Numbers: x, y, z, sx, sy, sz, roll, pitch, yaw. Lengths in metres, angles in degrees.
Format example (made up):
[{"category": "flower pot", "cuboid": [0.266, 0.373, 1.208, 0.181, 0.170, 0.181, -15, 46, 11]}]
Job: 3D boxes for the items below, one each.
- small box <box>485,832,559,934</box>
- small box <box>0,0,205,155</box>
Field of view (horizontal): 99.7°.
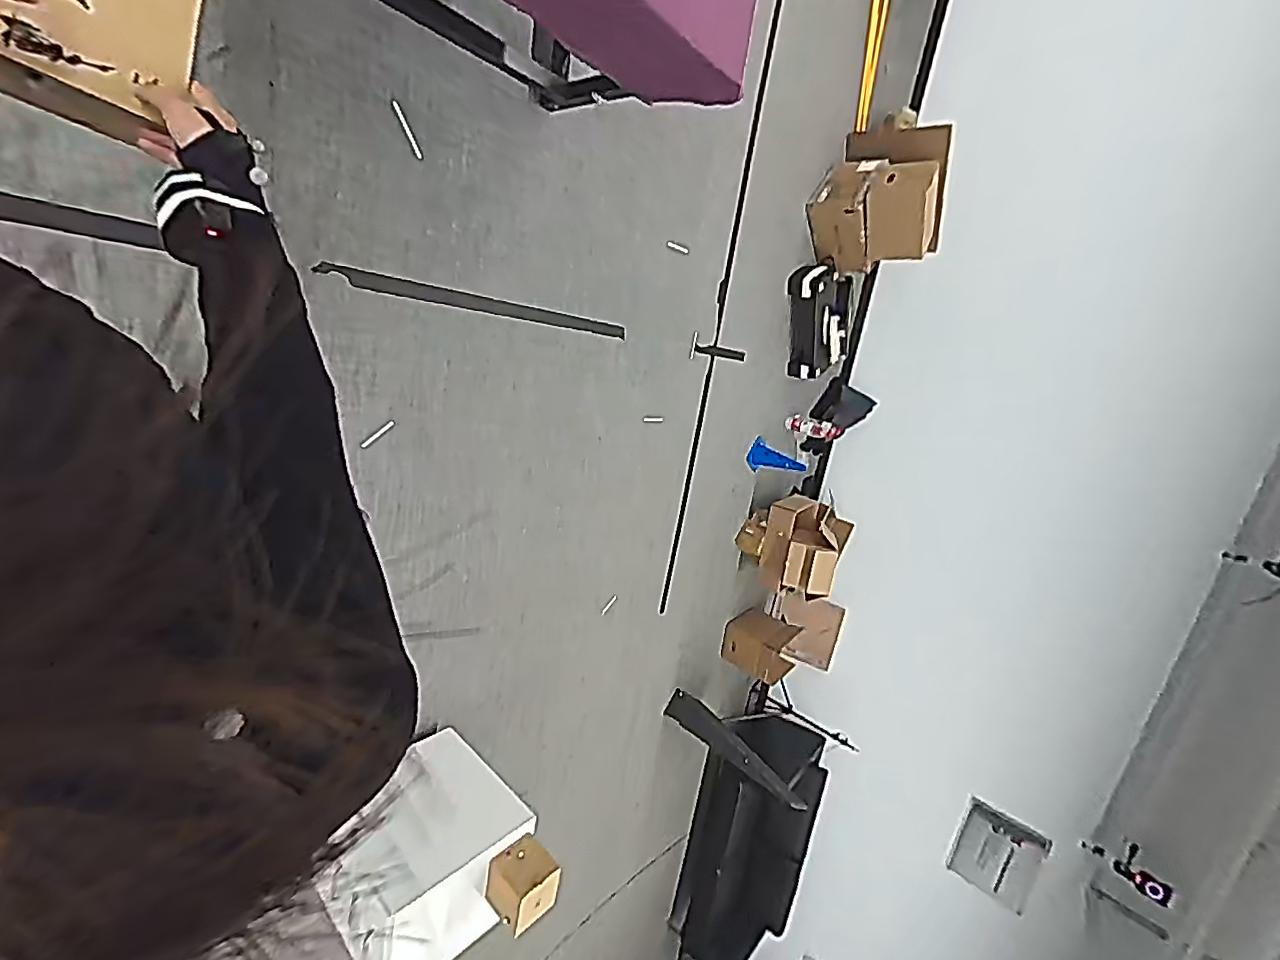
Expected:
[{"category": "small box", "cuboid": [-0.396, 1.330, 1.797, 0.168, 0.176, 0.179, -7, 114, -49]}, {"category": "small box", "cuboid": [-0.542, -0.446, 0.513, 0.168, 0.176, 0.179, 8, 99, -50]}]
